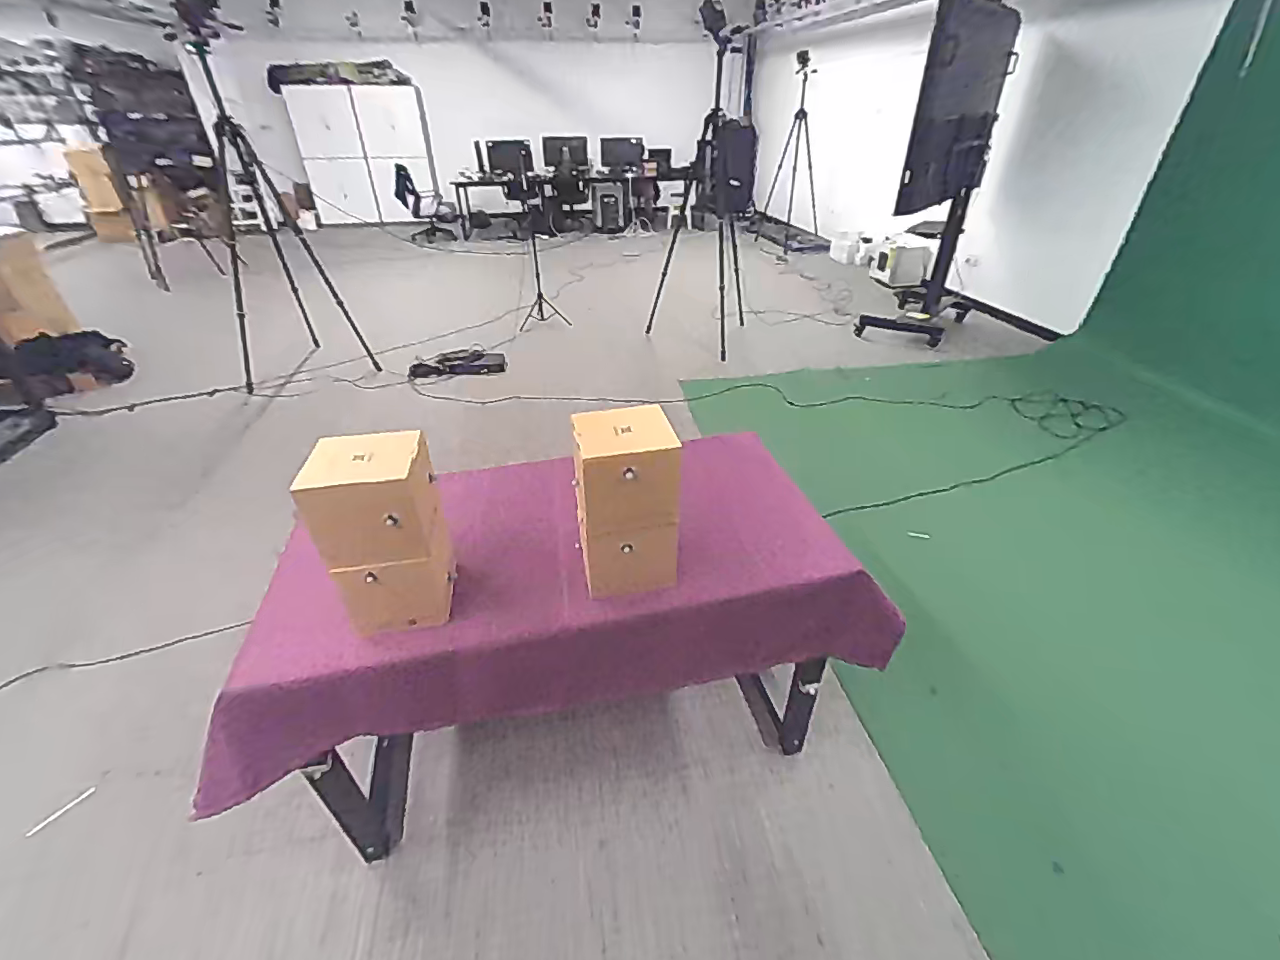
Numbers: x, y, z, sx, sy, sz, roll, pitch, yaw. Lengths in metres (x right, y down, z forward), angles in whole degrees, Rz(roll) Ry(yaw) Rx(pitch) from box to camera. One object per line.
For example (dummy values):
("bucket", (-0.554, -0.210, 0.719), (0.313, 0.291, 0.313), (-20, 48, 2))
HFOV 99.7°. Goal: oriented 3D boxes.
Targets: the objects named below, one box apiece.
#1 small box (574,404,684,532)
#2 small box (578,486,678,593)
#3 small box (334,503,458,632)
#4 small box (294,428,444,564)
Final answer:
("small box", (-0.024, -0.023, 1.011), (0.179, 0.176, 0.168), (-8, 36, -9))
("small box", (-0.025, 0.112, 1.103), (0.179, 0.176, 0.168), (-6, 35, -9))
("small box", (-0.454, 0.162, 1.038), (0.168, 0.176, 0.179), (-7, 34, -8))
("small box", (-0.455, 0.027, 0.945), (0.179, 0.176, 0.168), (-6, 34, -7))
